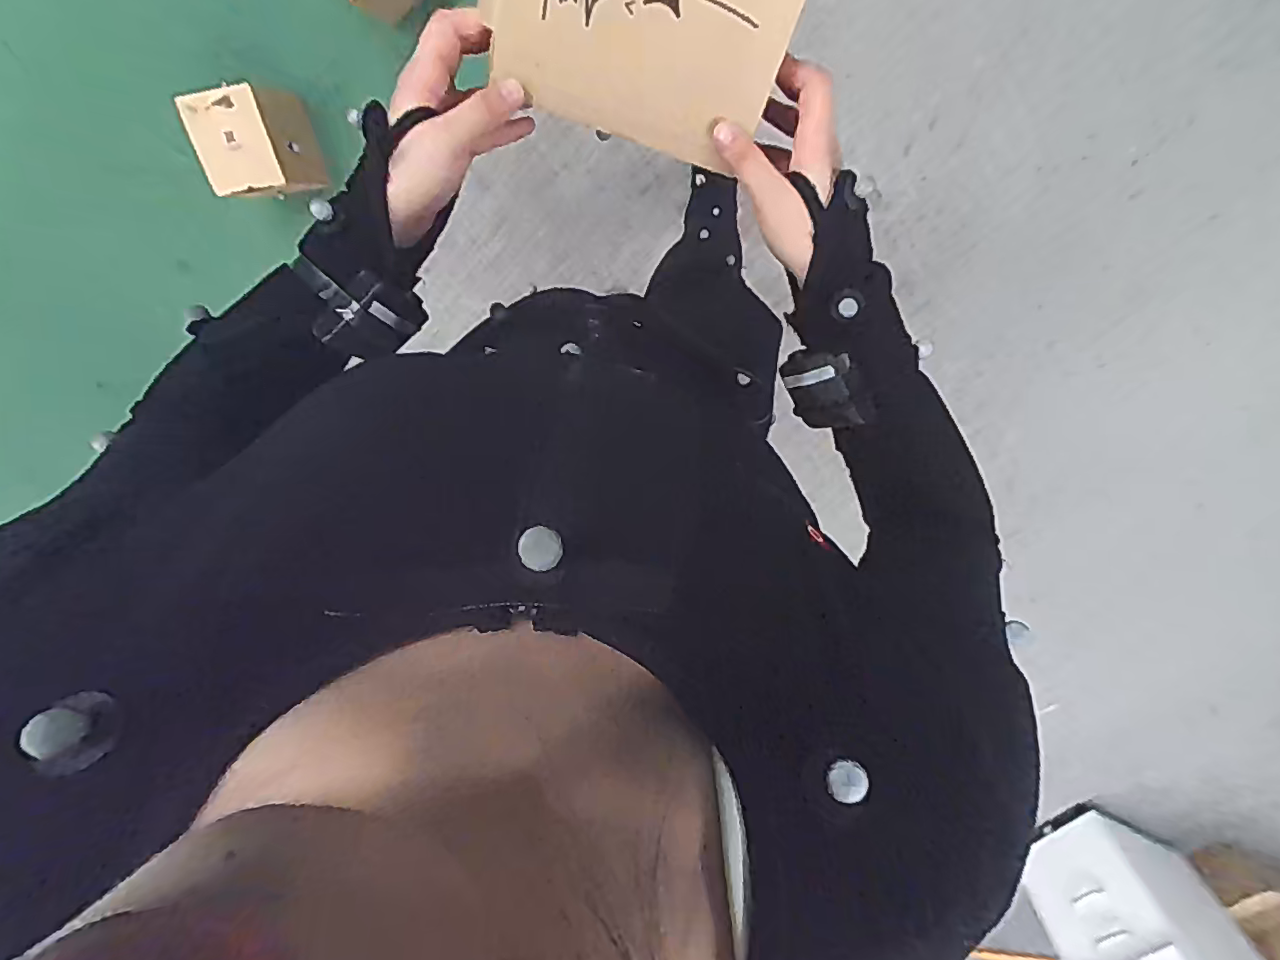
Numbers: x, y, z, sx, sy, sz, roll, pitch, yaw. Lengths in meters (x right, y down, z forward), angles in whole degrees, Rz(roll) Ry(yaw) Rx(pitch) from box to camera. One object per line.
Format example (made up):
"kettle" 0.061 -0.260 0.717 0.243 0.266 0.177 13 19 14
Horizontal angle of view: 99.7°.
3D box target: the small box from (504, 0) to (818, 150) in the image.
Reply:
"small box" 0.024 -0.353 0.355 0.179 0.176 0.168 14 134 -10

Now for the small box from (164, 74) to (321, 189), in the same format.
"small box" -0.811 -0.718 1.129 0.168 0.176 0.179 -5 118 6

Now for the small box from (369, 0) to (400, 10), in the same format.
"small box" -0.484 -0.996 0.962 0.179 0.176 0.168 -29 114 16

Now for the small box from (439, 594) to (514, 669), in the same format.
"small box" -0.521 0.490 1.765 0.179 0.176 0.168 -6 118 7
